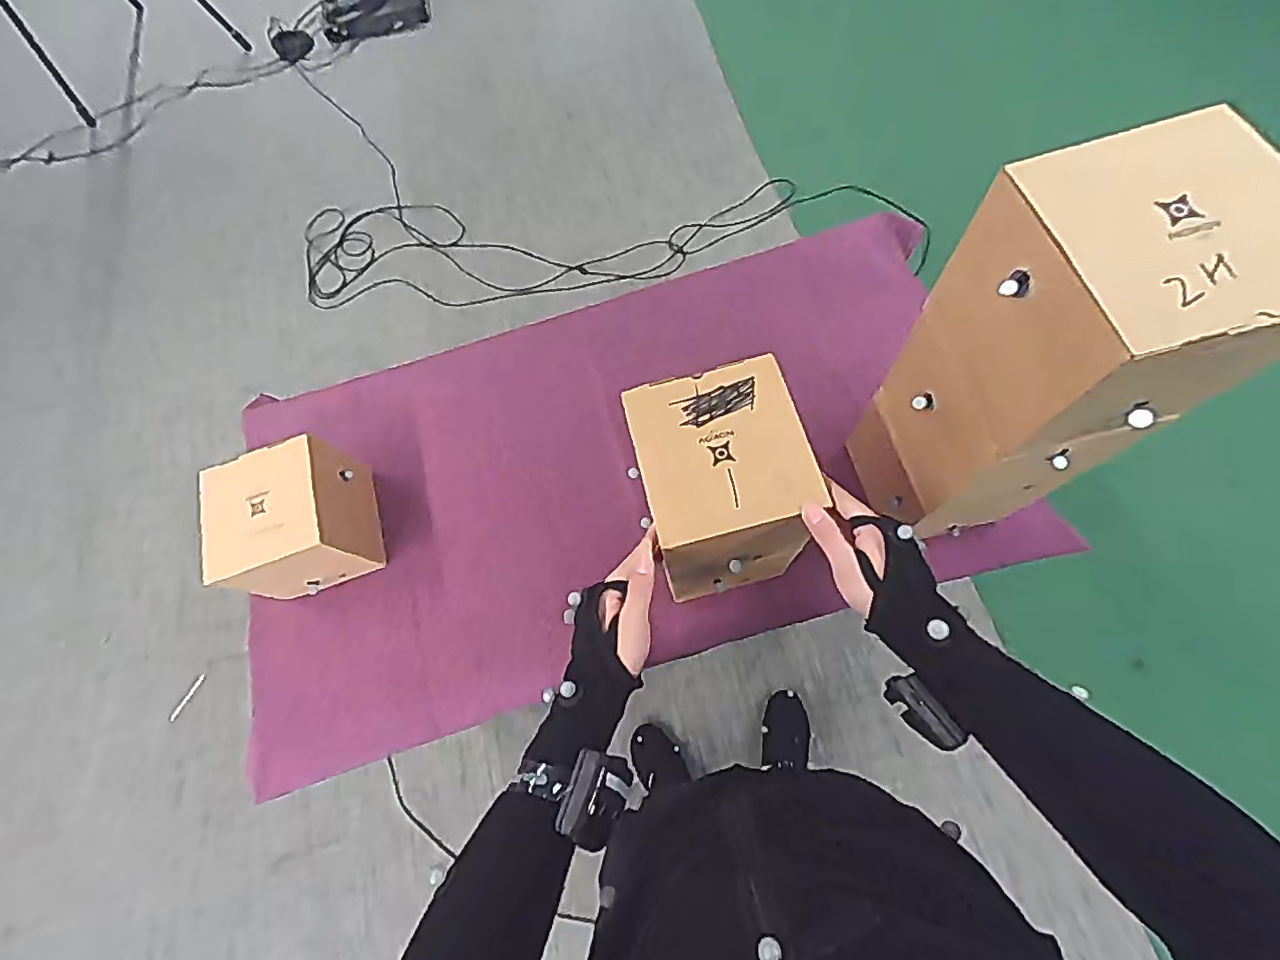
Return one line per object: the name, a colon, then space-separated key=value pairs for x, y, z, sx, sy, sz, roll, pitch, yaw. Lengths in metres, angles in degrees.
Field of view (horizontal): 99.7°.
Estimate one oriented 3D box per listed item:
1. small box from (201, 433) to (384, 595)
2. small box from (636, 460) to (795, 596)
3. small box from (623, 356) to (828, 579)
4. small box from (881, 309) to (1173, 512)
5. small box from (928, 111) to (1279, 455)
small box: x=-0.518 y=0.059 z=0.821 sx=0.168 sy=0.176 sz=0.179 roll=-19 pitch=70 yaw=0
small box: x=0.101 y=0.056 z=0.753 sx=0.168 sy=0.176 sz=0.179 roll=-15 pitch=68 yaw=1
small box: x=0.085 y=-0.004 z=0.601 sx=0.168 sy=0.176 sz=0.179 roll=-15 pitch=68 yaw=1
small box: x=0.390 y=-0.084 z=0.591 sx=0.168 sy=0.176 sz=0.179 roll=-14 pitch=68 yaw=3
small box: x=0.369 y=-0.144 z=0.439 sx=0.168 sy=0.176 sz=0.179 roll=-15 pitch=69 yaw=3
